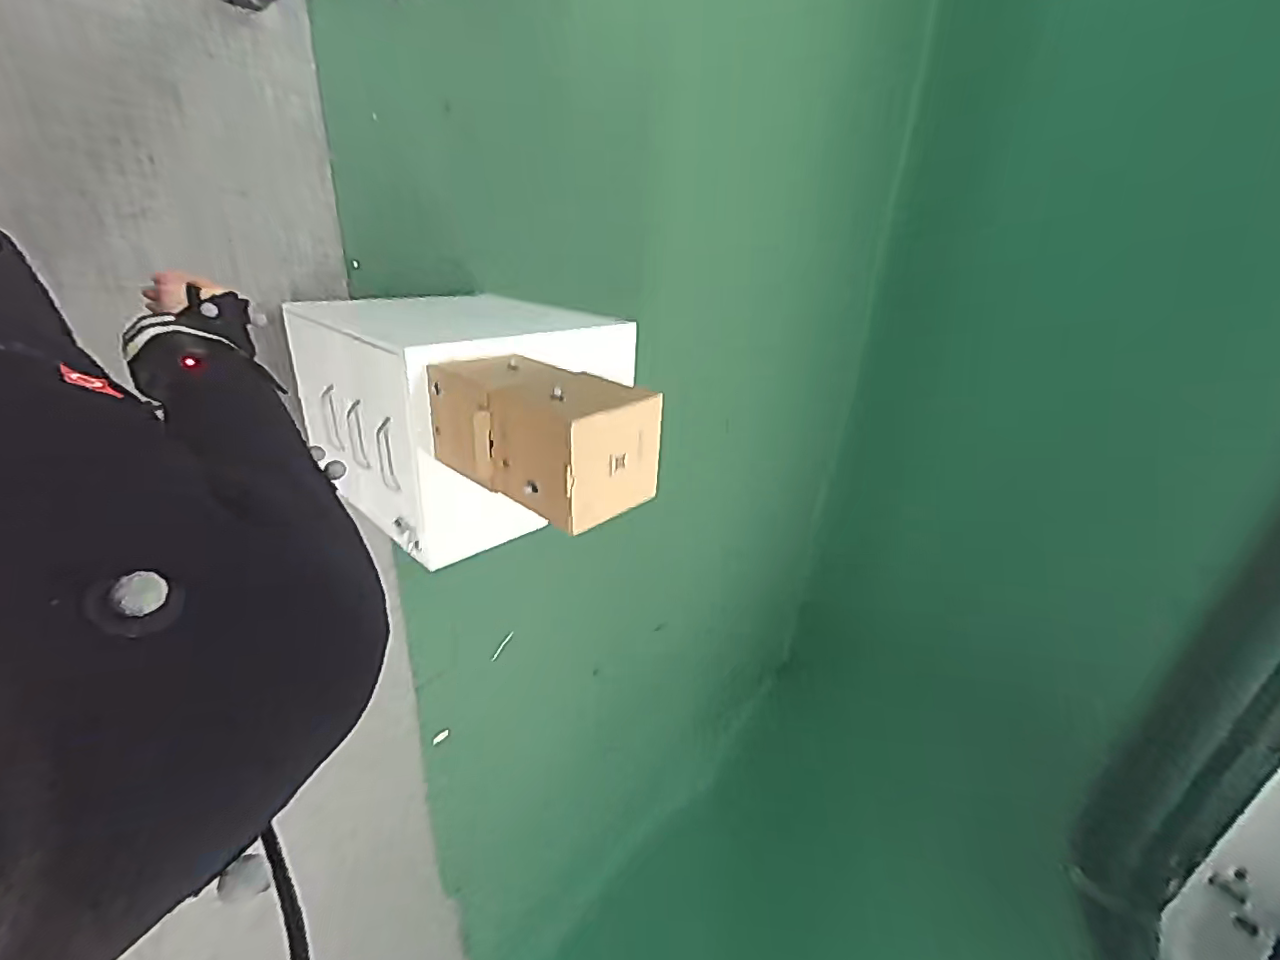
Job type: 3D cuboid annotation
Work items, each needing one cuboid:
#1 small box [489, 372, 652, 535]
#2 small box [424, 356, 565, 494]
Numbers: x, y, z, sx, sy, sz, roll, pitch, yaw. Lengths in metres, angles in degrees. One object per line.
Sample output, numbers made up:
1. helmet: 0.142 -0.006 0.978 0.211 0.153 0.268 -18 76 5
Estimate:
1. small box: -0.105 -0.049 0.787 0.179 0.176 0.168 -26 130 -44
2. small box: -0.233 -0.098 0.875 0.179 0.176 0.168 -22 126 -45
